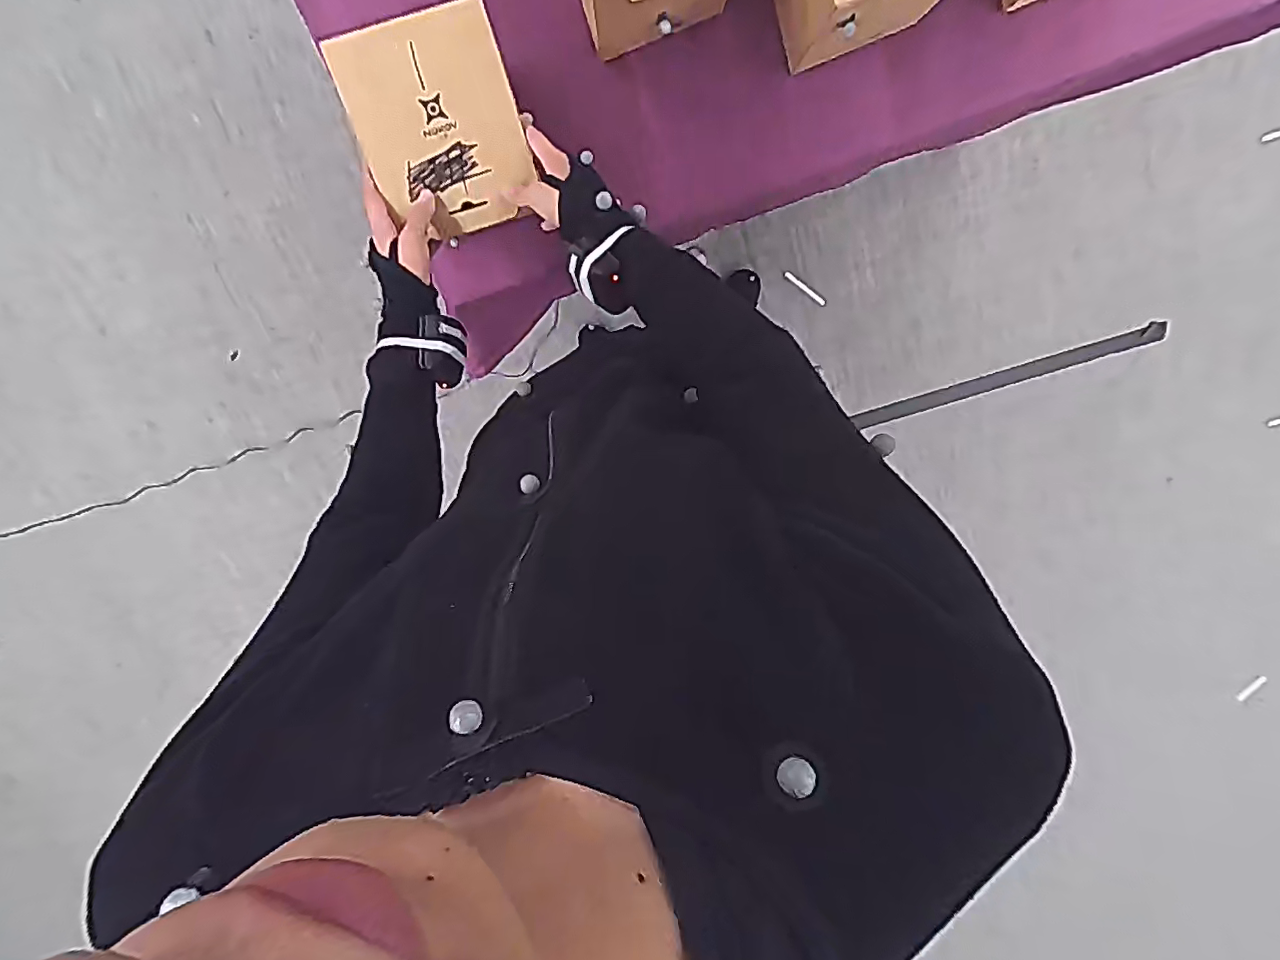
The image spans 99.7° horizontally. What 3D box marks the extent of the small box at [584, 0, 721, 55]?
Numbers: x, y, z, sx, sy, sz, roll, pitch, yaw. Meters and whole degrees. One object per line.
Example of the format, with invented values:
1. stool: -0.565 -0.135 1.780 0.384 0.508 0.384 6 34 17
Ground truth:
1. small box: 0.000 -0.615 0.581 0.168 0.176 0.179 -18 108 6

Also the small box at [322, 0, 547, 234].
1. small box: -0.213 -0.395 0.621 0.168 0.176 0.179 -18 110 0
